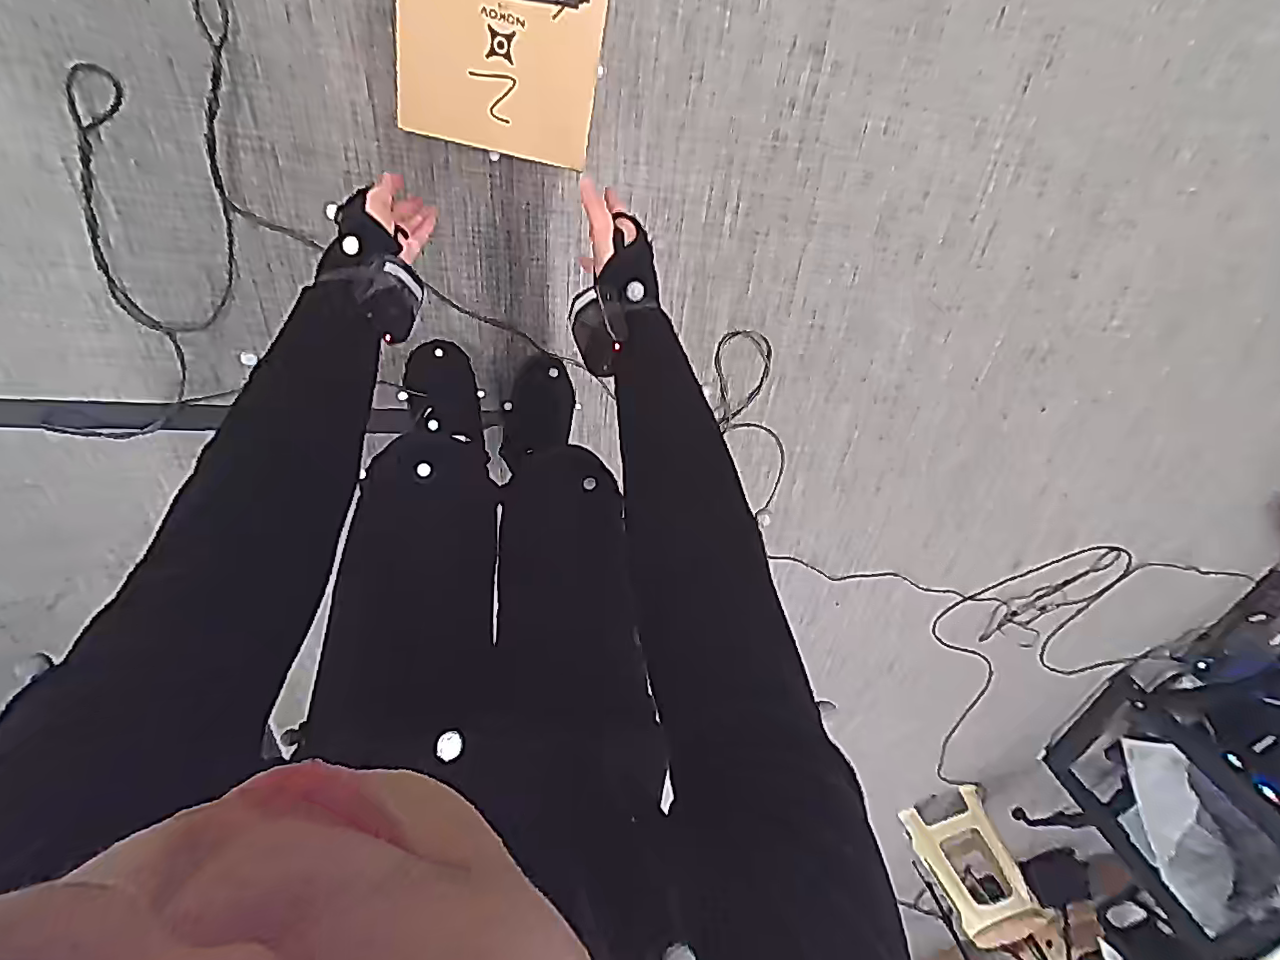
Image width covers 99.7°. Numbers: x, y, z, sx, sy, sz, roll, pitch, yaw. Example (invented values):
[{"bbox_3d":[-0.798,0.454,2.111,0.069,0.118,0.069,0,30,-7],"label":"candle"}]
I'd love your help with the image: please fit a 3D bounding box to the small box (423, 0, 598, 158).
[{"bbox_3d":[-0.155,-0.501,0.649,0.179,0.176,0.168,4,122,-15],"label":"small box"}]
